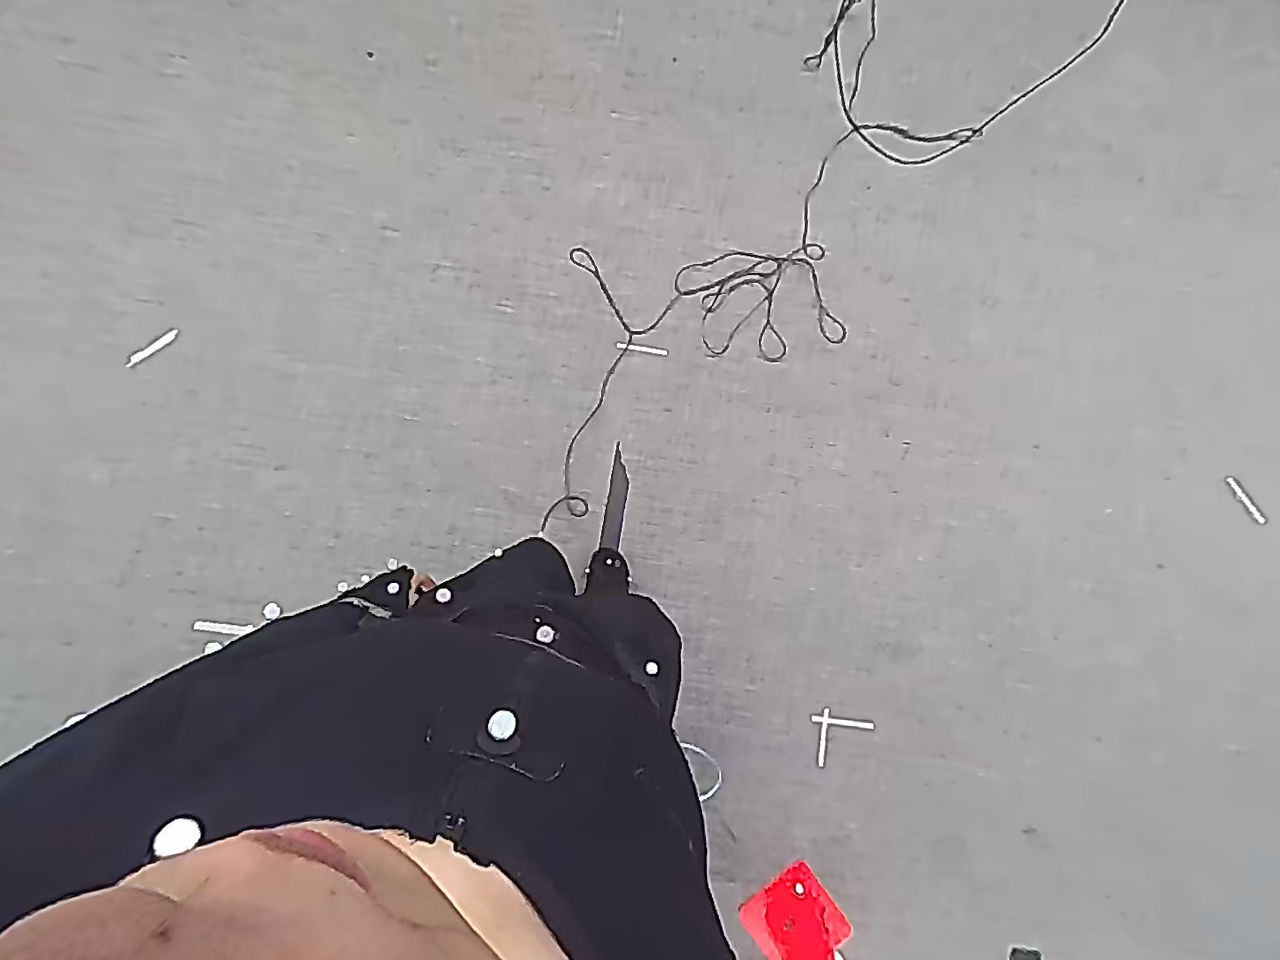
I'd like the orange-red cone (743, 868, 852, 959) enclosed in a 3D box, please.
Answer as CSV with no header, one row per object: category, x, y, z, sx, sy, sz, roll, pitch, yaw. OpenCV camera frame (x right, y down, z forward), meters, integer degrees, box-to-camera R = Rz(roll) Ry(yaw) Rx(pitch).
orange-red cone,0.358,1.007,1.076,0.199,0.360,0.198,-36,83,-3
